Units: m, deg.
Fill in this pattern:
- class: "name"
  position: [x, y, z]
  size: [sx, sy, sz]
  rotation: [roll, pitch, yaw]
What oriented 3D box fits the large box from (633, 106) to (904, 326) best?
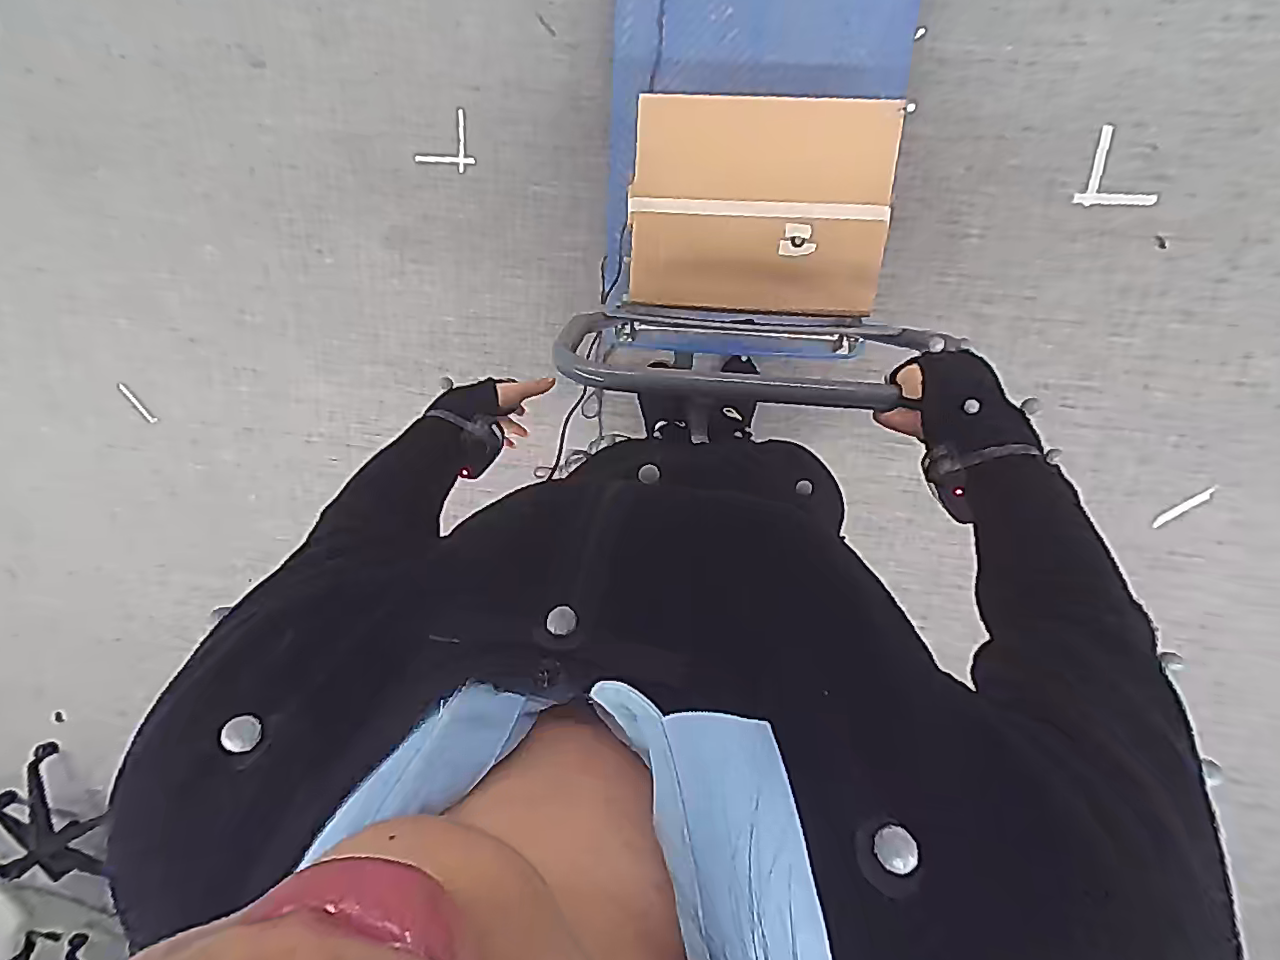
- class: "large box"
  position: [0.201, -0.453, 0.998]
  size: [0.408, 0.320, 0.320]
  rotation: [4, 107, 4]
